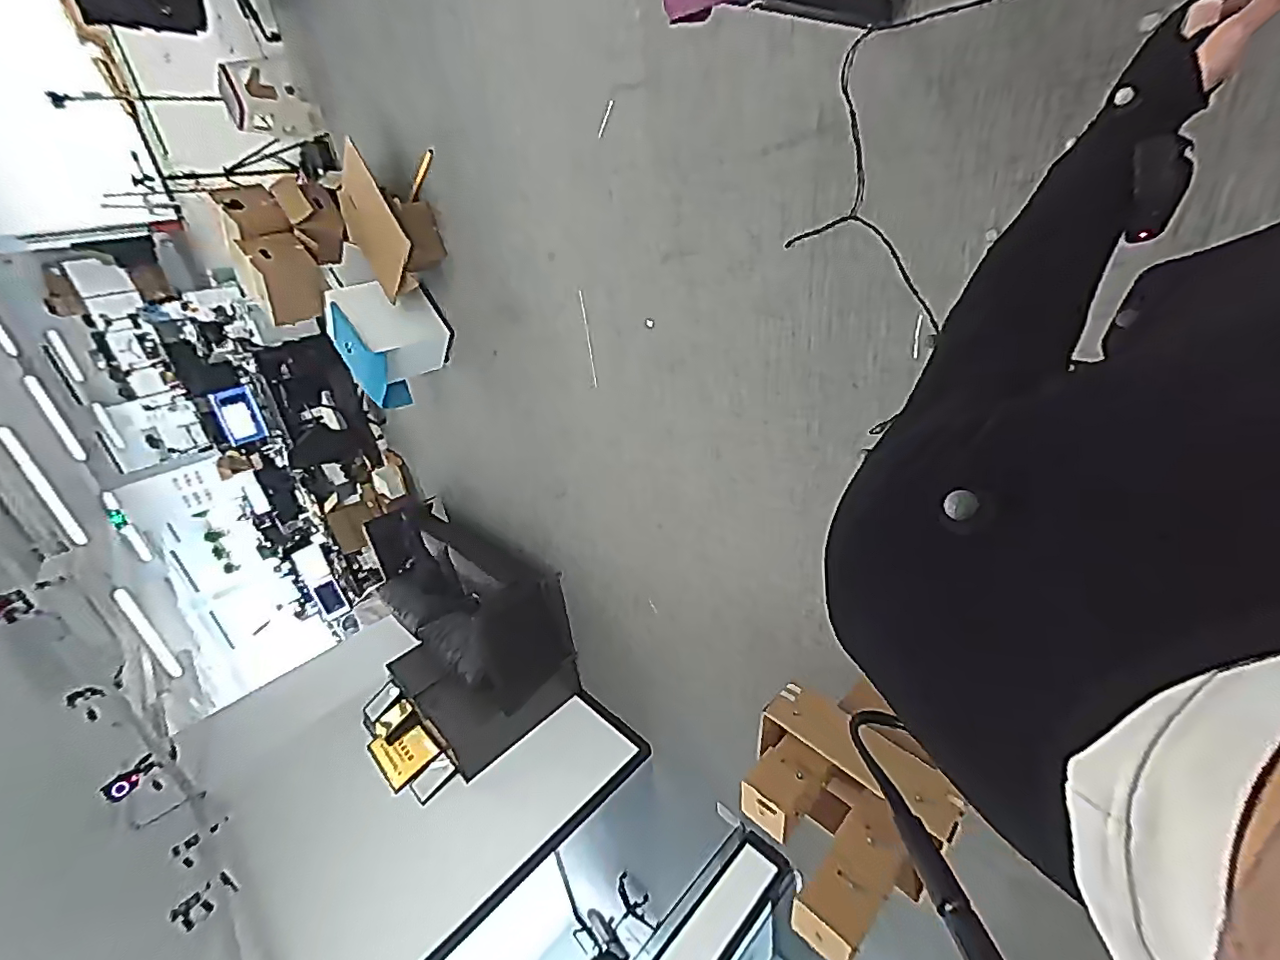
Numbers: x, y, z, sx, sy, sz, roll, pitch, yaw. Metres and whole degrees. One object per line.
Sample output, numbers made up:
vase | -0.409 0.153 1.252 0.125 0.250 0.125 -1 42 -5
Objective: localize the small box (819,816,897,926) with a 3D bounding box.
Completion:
small box | 0.641 1.157 1.606 0.168 0.176 0.179 23 129 40

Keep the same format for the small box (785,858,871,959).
small box | 0.524 1.217 1.509 0.168 0.176 0.179 23 129 39

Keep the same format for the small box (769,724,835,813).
small box | 0.557 1.000 1.887 0.168 0.176 0.179 28 131 38

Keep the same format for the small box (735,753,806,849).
small box | 0.434 1.054 1.791 0.168 0.176 0.179 23 129 41
